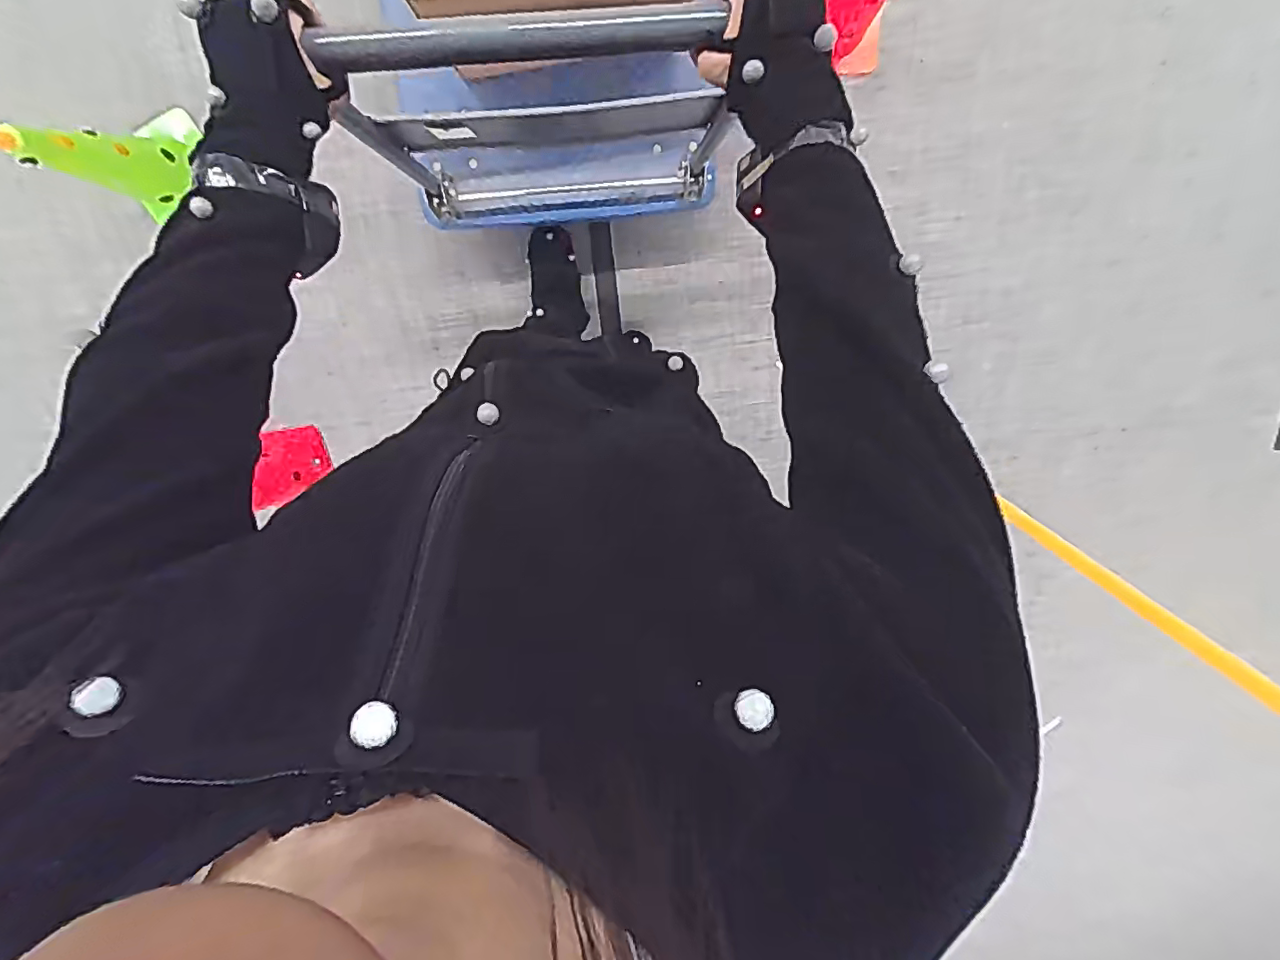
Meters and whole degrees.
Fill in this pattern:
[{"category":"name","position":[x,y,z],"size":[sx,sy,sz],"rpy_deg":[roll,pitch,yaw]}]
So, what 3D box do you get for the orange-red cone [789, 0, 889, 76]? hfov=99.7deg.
[{"category":"orange-red cone","position":[0.426,-0.900,0.967],"size":[0.199,0.360,0.198],"rpy_deg":[-2,111,-4]}]
